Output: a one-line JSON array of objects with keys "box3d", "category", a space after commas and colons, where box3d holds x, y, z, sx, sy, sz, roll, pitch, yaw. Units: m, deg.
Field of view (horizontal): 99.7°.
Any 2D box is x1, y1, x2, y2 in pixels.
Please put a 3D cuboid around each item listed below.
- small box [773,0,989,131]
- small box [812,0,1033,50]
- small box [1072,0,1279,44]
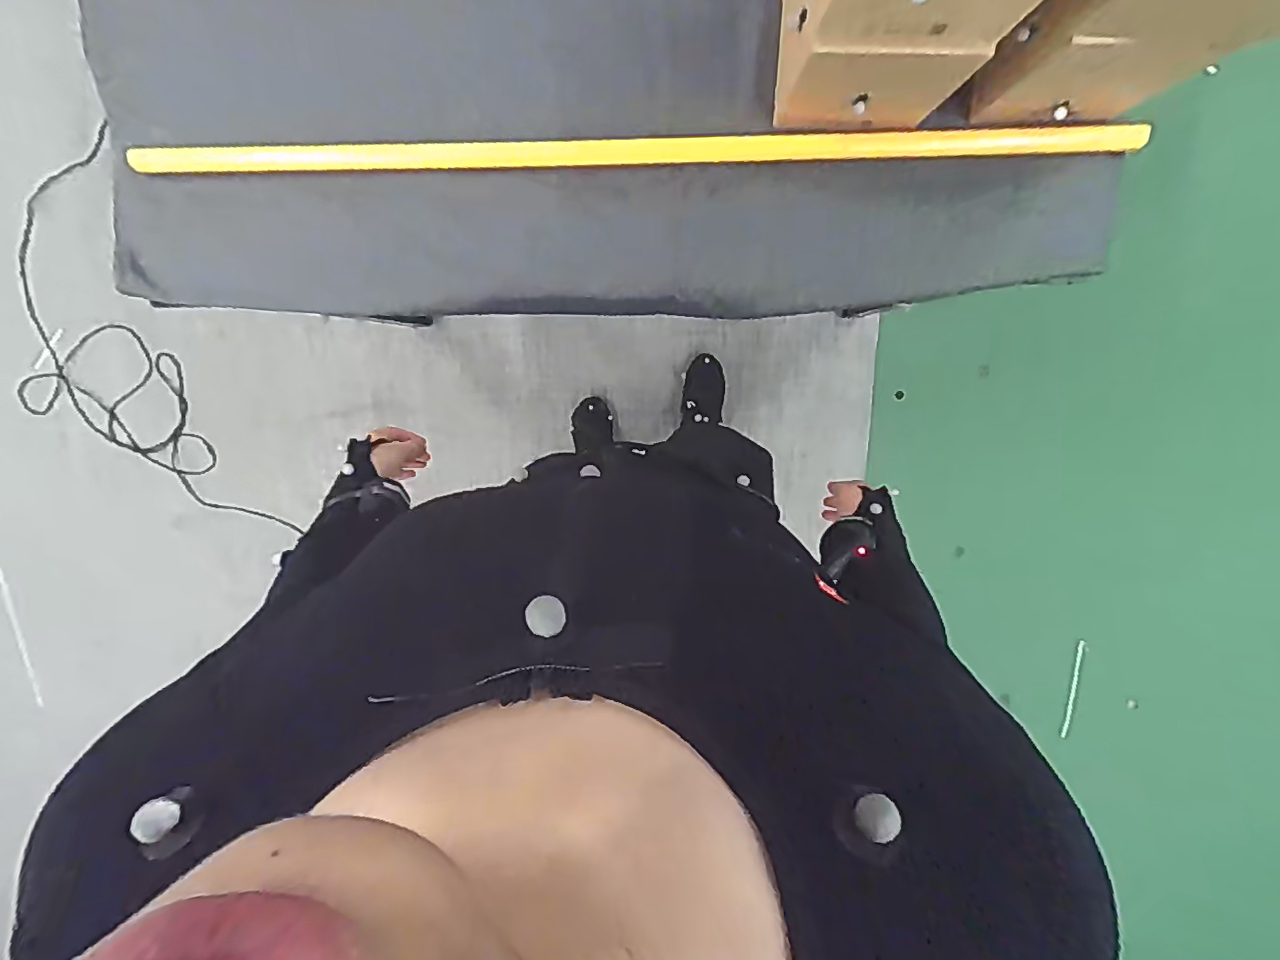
[{"box3d": [0.237, -0.480, 0.547, 0.168, 0.176, 0.179, 2, 102, 1], "category": "small box"}, {"box3d": [0.231, -0.448, 0.387, 0.168, 0.176, 0.179, 3, 102, 2], "category": "small box"}, {"box3d": [0.460, -0.446, 0.378, 0.179, 0.176, 0.168, 4, 103, 0], "category": "small box"}]
